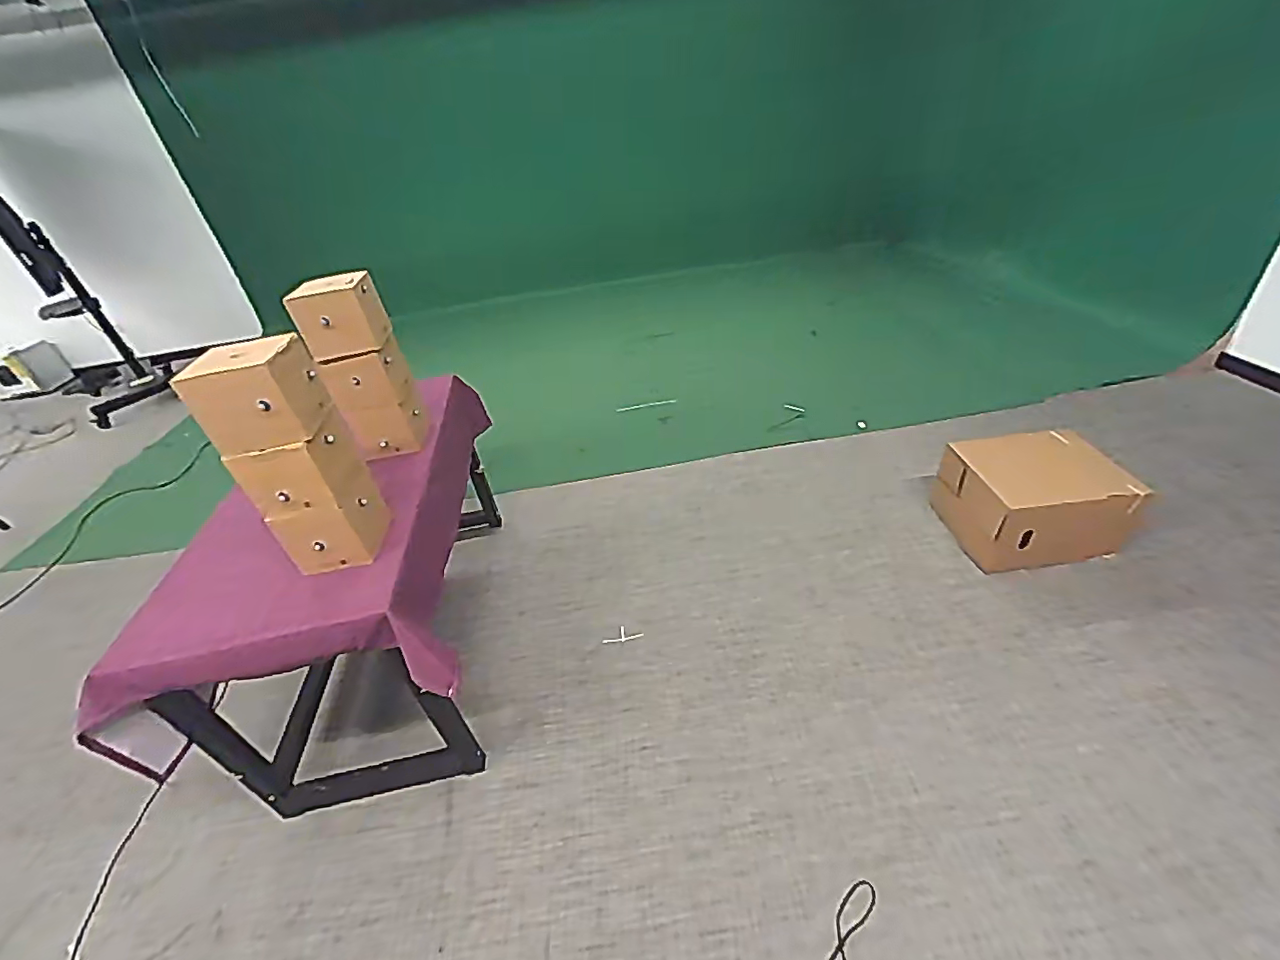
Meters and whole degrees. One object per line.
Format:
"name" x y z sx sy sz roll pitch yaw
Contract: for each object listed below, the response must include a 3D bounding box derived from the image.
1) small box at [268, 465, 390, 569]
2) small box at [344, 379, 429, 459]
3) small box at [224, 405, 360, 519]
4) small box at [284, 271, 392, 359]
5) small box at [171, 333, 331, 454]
"small box" -0.717 0.092 1.272 0.168 0.176 0.179 -10 36 -1
"small box" -0.771 -0.189 1.665 0.168 0.176 0.179 -10 37 -1
"small box" -0.741 -0.040 1.180 0.168 0.176 0.179 -10 37 -1
"small box" -0.802 -0.443 1.457 0.179 0.176 0.168 -13 37 -2
"small box" -0.761 -0.172 1.086 0.179 0.176 0.168 -12 36 -2
